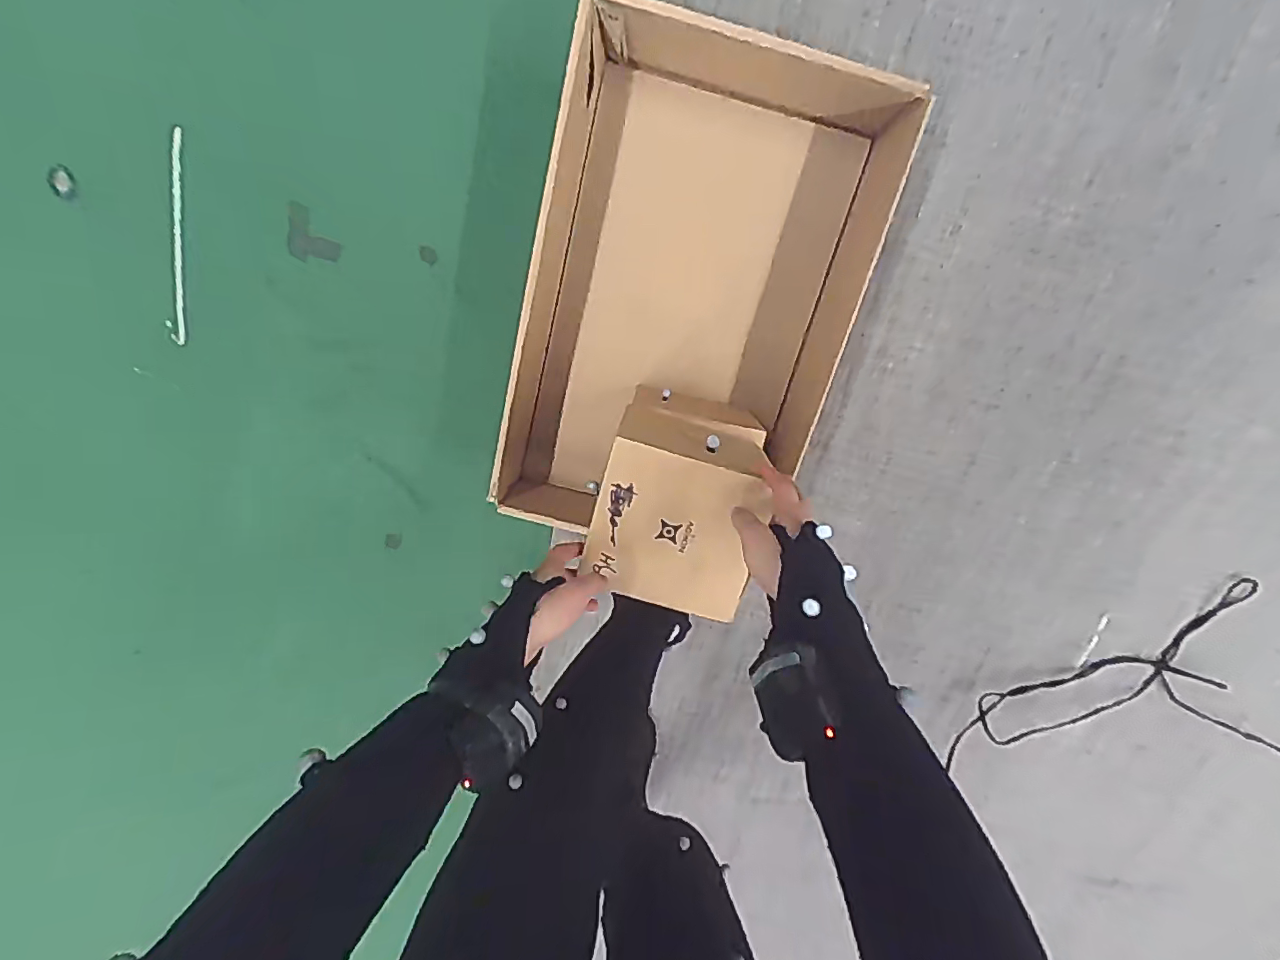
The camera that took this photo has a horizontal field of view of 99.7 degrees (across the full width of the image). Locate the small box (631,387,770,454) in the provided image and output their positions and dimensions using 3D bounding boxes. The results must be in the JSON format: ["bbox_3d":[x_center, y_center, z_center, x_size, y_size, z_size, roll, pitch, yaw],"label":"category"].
[{"bbox_3d":[0.062,-0.030,0.768,0.179,0.176,0.168,11,108,-3],"label":"small box"}]

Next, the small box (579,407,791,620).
[{"bbox_3d":[0.043,0.027,0.616,0.179,0.176,0.168,16,108,-4],"label":"small box"}]
